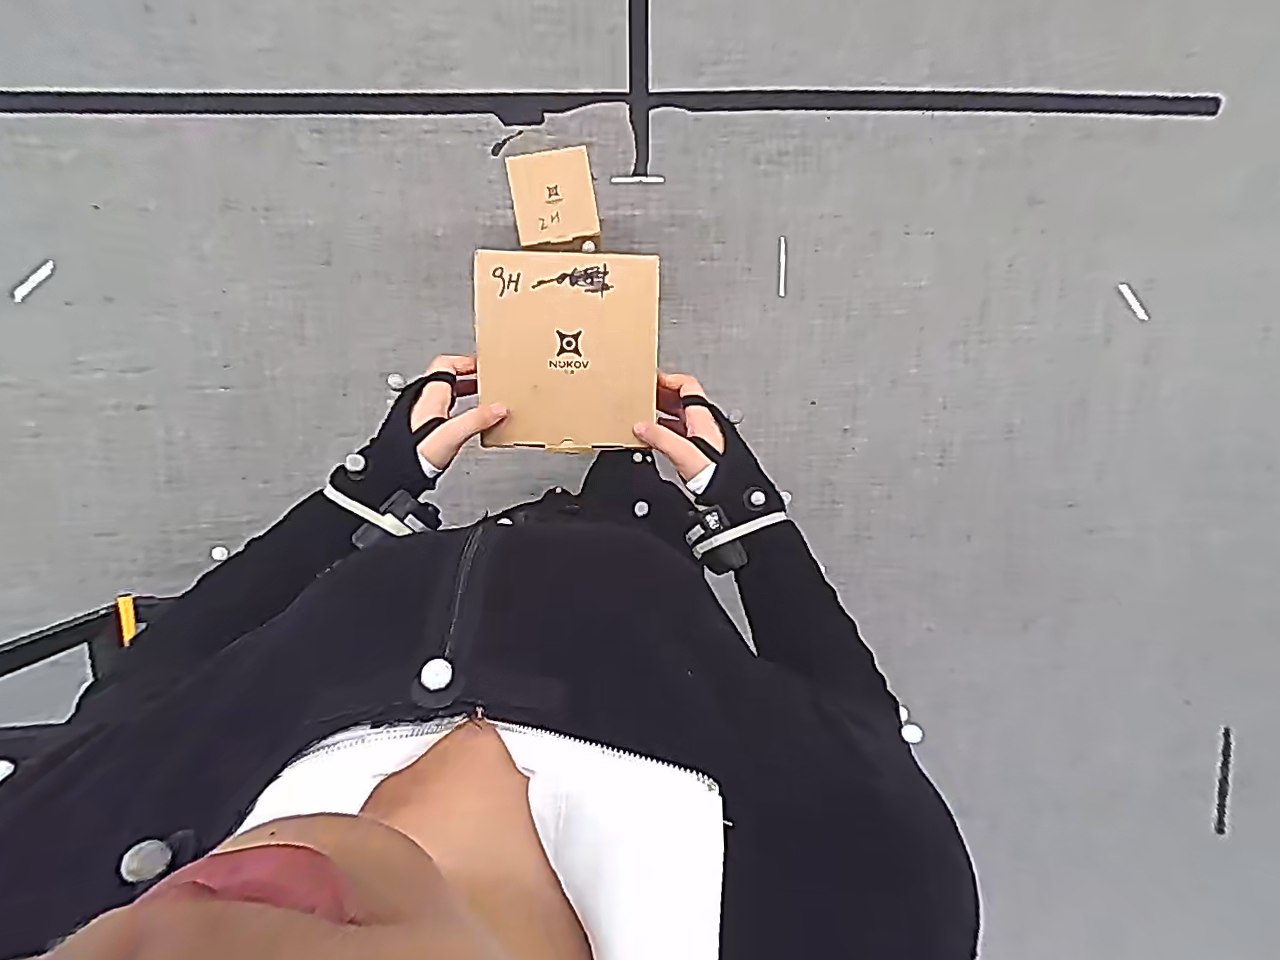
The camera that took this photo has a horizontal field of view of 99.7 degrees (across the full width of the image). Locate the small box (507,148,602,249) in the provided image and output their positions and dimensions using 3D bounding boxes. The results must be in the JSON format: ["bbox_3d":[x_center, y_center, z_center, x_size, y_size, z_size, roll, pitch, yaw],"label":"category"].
[{"bbox_3d":[-0.176,-0.573,1.162,0.168,0.176,0.179,-10,96,-1],"label":"small box"}]

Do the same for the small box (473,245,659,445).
[{"bbox_3d":[-0.069,-0.136,0.569,0.168,0.176,0.179,0,102,-3],"label":"small box"}]
